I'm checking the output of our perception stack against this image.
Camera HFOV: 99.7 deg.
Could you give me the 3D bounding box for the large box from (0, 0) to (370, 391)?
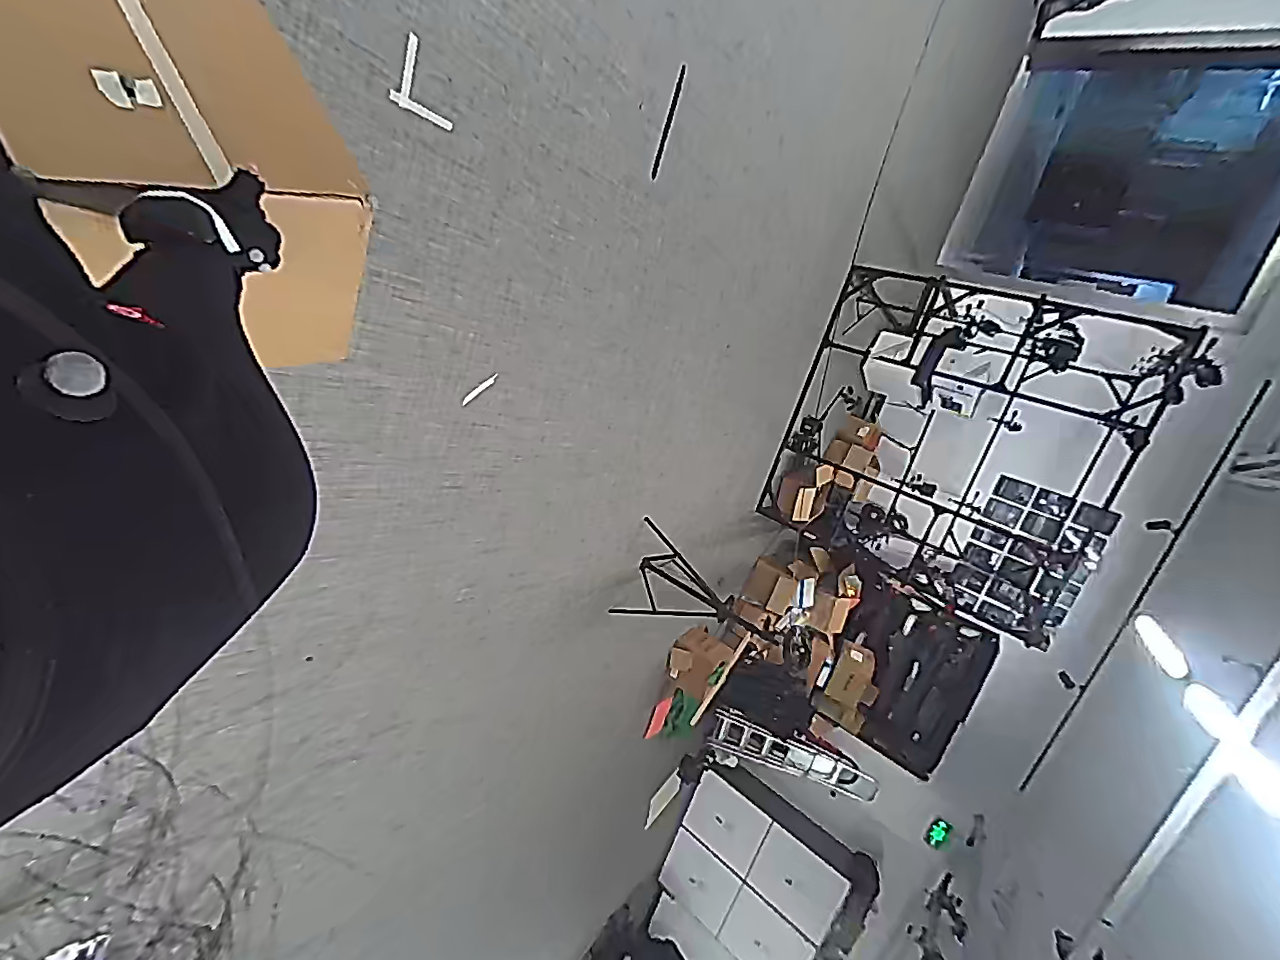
[{"bbox_3d":[-0.631,-0.389,0.723,0.320,0.408,0.320,-25,168,-42],"label":"large box"}]
